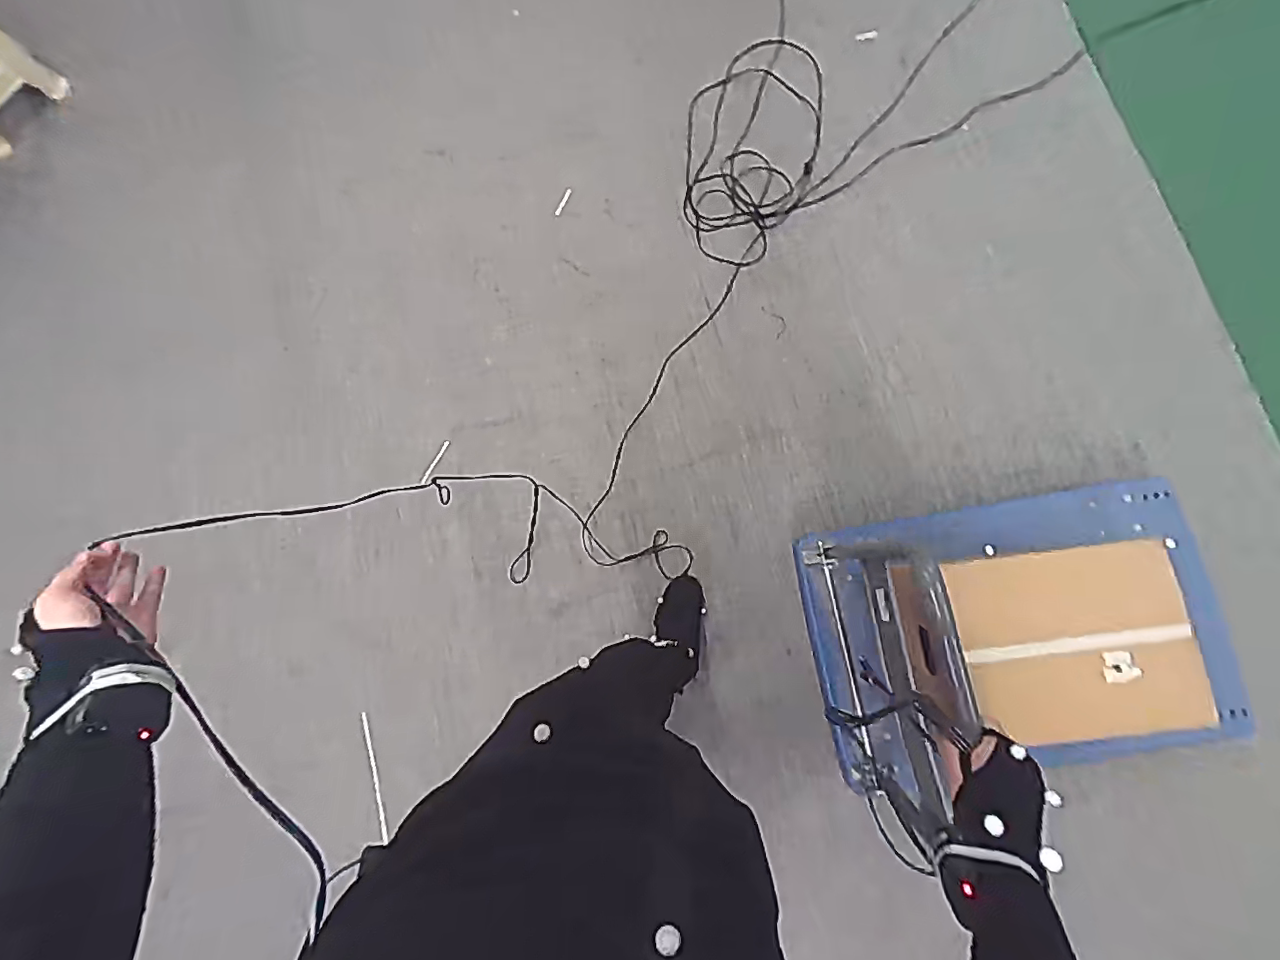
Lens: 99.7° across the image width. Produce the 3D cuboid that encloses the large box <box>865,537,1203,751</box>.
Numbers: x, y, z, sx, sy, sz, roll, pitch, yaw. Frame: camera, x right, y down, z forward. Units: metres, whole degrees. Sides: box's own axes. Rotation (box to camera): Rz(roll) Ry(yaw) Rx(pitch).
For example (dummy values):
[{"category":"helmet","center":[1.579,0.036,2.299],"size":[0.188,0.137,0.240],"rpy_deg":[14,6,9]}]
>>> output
[{"category":"large box","center":[0.726,0.306,1.075],"size":[0.408,0.320,0.320],"rpy_deg":[-8,80,2]}]
